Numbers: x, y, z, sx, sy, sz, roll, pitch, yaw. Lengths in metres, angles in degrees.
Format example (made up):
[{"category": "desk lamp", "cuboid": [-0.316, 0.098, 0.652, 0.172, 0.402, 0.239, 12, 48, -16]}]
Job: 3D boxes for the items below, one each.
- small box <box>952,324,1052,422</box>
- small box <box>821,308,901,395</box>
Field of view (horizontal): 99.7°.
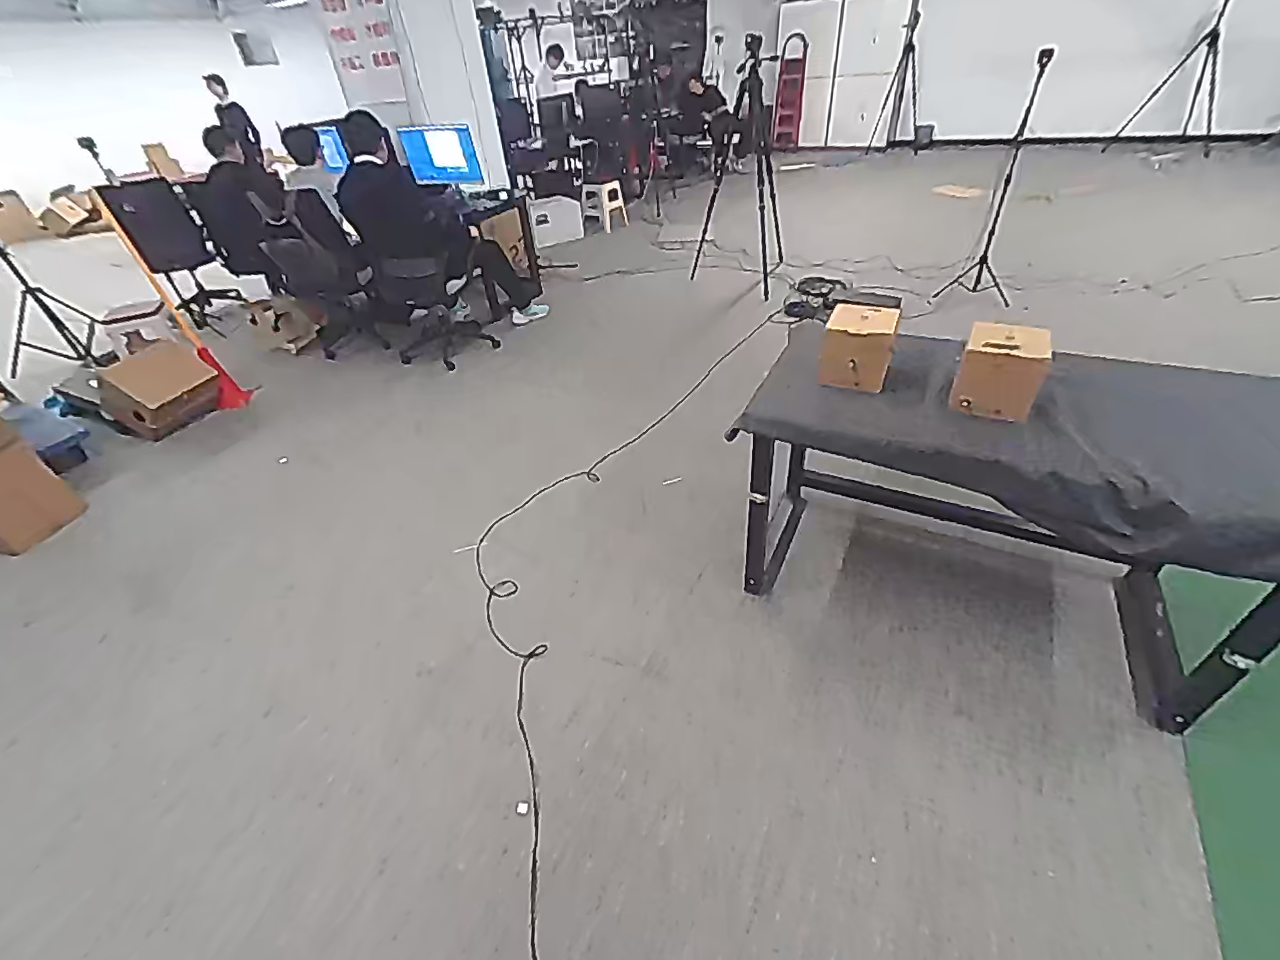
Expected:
[{"category": "small box", "cuboid": [0.877, -0.260, 1.318, 0.168, 0.176, 0.179, 16, 42, 26]}, {"category": "small box", "cuboid": [0.598, -0.351, 1.473, 0.168, 0.176, 0.179, 14, 43, 24]}]
